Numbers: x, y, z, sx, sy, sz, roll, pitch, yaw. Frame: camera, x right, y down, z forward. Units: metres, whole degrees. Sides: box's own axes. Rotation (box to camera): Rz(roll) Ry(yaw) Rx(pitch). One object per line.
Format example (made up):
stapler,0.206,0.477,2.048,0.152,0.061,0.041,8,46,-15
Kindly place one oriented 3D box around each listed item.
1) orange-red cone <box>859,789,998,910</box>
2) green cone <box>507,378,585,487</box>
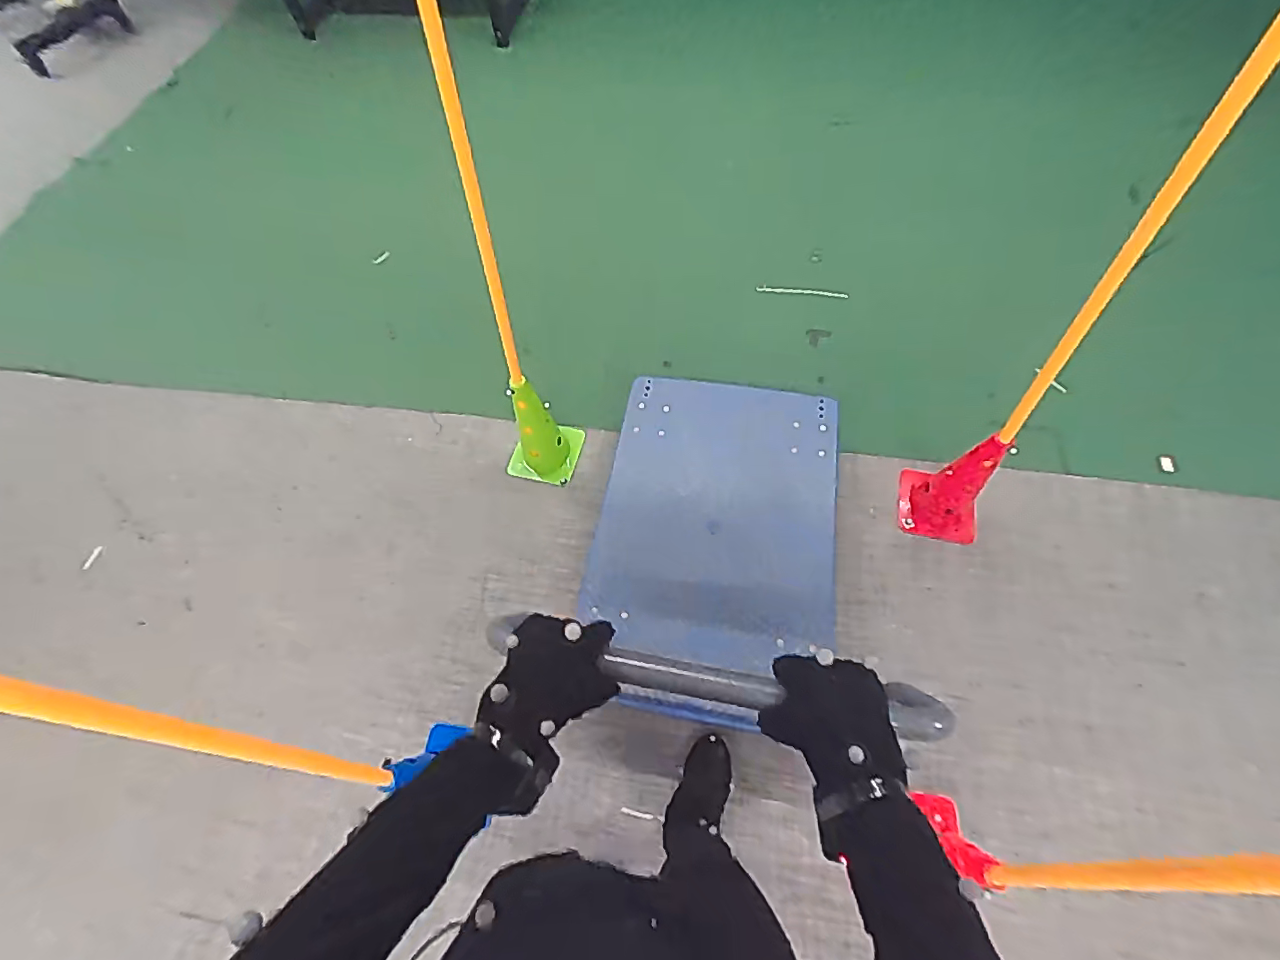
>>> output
orange-red cone,0.559,0.704,1.008,0.199,0.360,0.198,5,62,8
green cone,-0.298,-0.159,1.519,0.202,0.368,0.200,10,62,10
